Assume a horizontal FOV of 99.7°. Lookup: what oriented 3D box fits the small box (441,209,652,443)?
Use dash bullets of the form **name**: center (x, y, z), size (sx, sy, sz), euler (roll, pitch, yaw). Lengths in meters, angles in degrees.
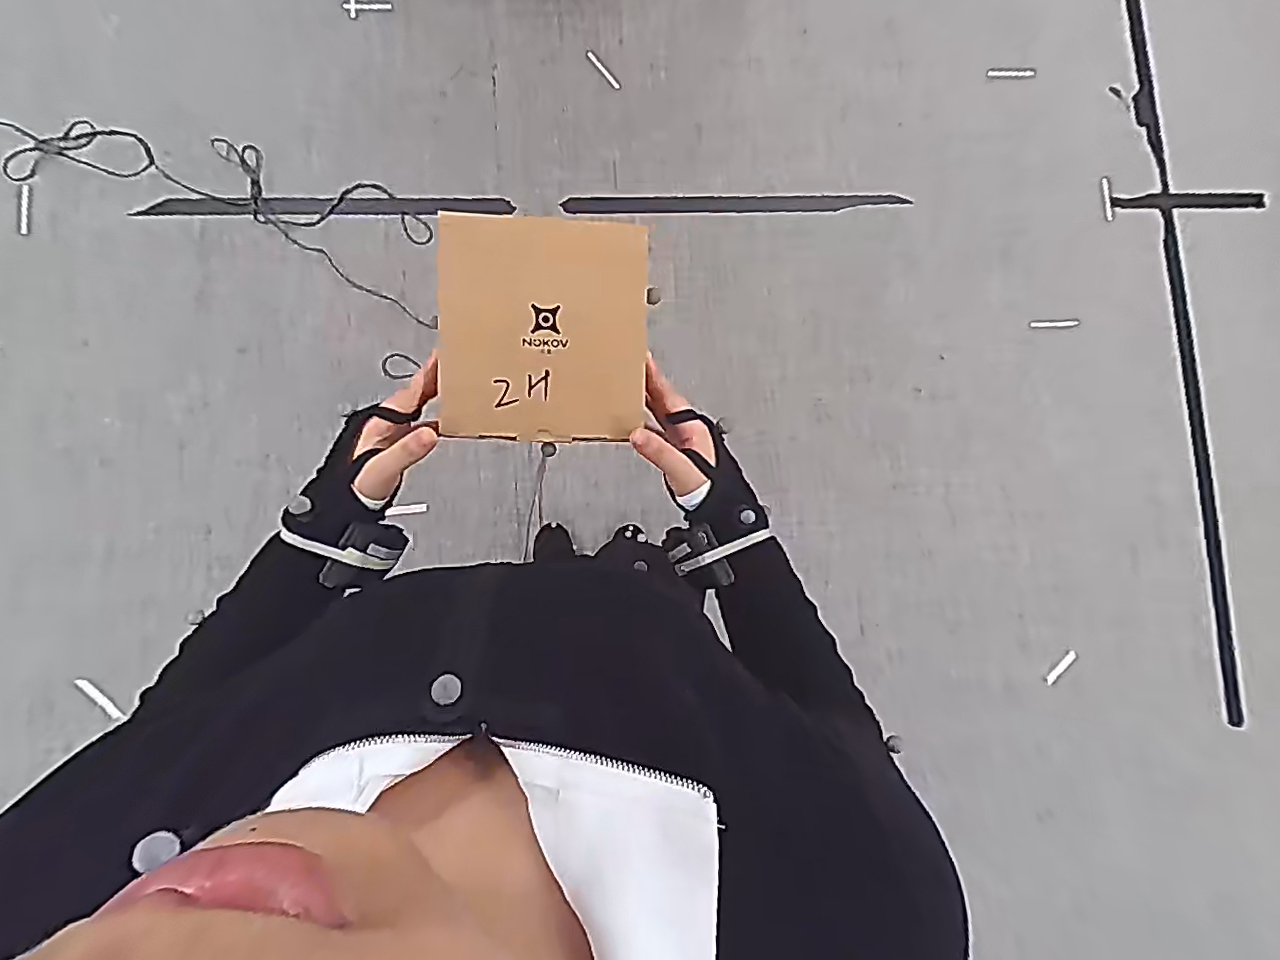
- **small box**: center (-0.083, -0.127, 0.512), size (0.168, 0.176, 0.179), euler (1, 93, -6)
